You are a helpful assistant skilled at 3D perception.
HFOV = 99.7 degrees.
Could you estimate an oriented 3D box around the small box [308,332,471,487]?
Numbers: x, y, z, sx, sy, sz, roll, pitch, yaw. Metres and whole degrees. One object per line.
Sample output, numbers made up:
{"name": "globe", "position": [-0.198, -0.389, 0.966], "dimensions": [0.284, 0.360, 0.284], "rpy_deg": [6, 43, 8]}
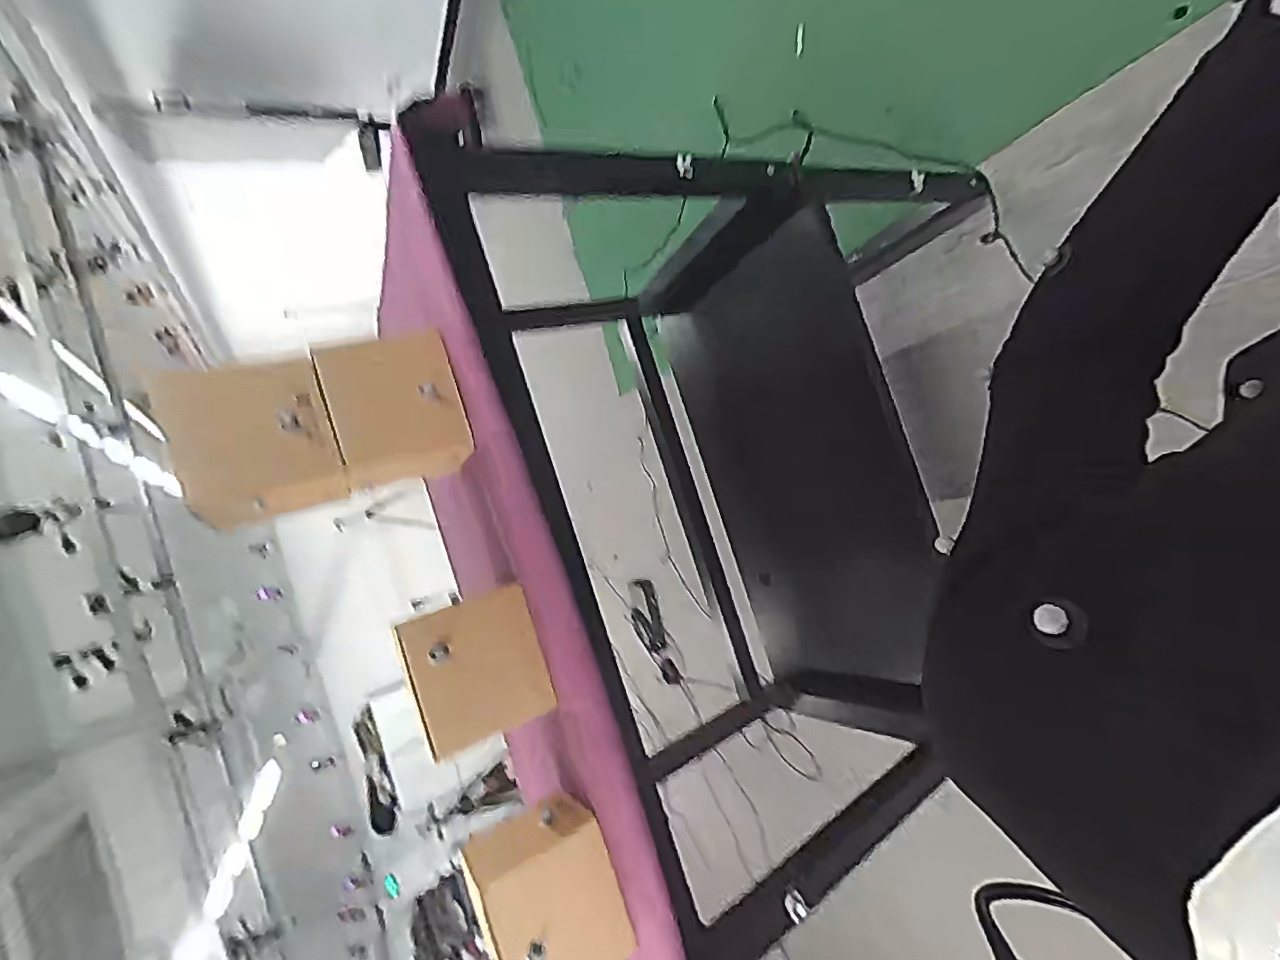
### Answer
{"name": "small box", "position": [-0.364, -0.105, 0.794], "dimensions": [0.168, 0.176, 0.179], "rpy_deg": [-24, 83, 62]}

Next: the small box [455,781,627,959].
{"name": "small box", "position": [-0.138, 0.561, 0.750], "dimensions": [0.168, 0.176, 0.179], "rpy_deg": [-29, 78, 59]}

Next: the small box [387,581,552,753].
{"name": "small box", "position": [-0.248, 0.249, 0.777], "dimensions": [0.168, 0.176, 0.179], "rpy_deg": [-22, 85, 61]}
